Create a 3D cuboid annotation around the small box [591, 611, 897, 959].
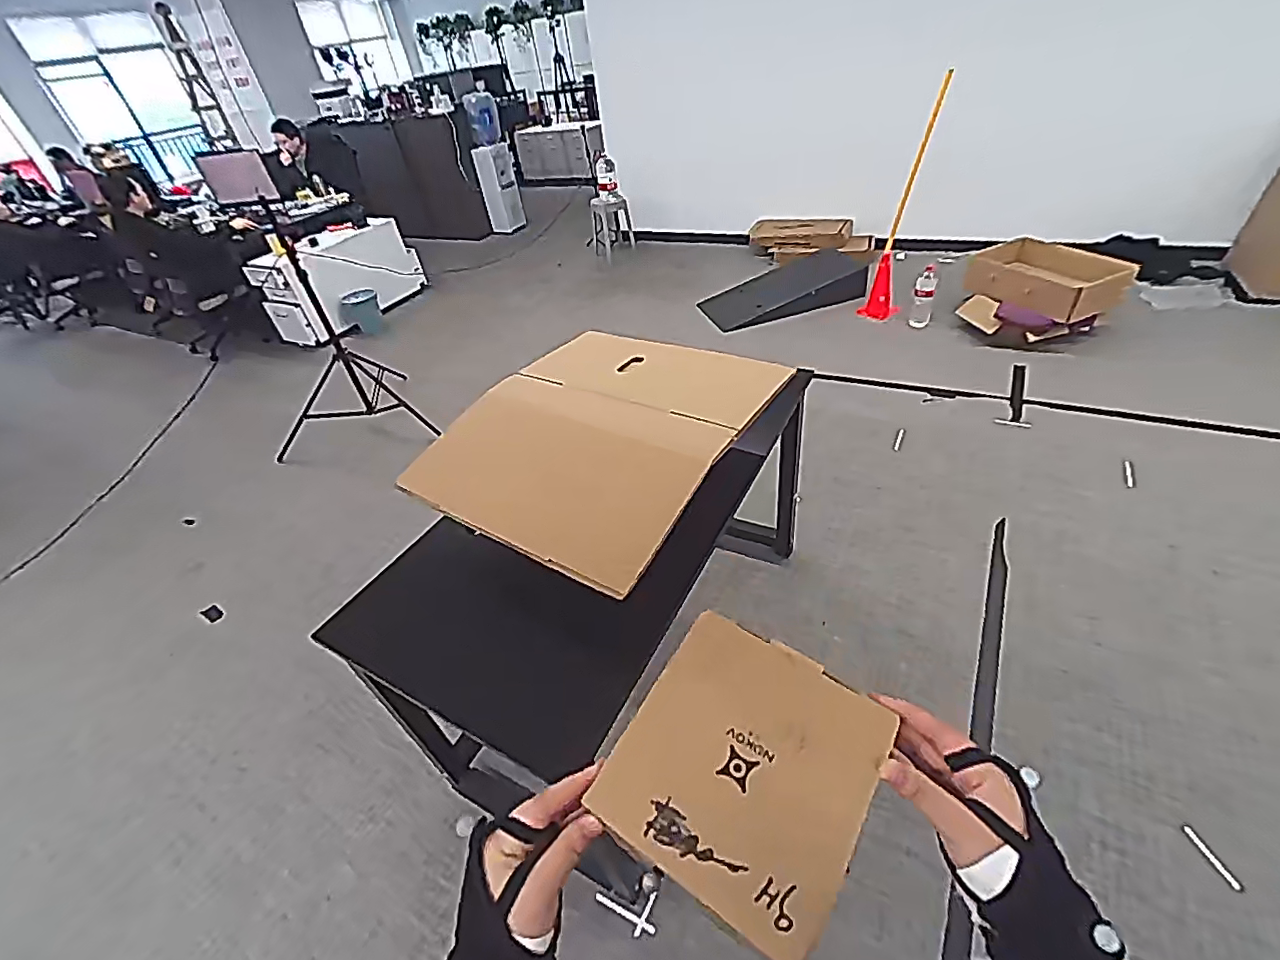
[{"bbox_3d":[0.083,0.251,0.449,0.168,0.176,0.179,25,56,26],"label":"small box"}]
